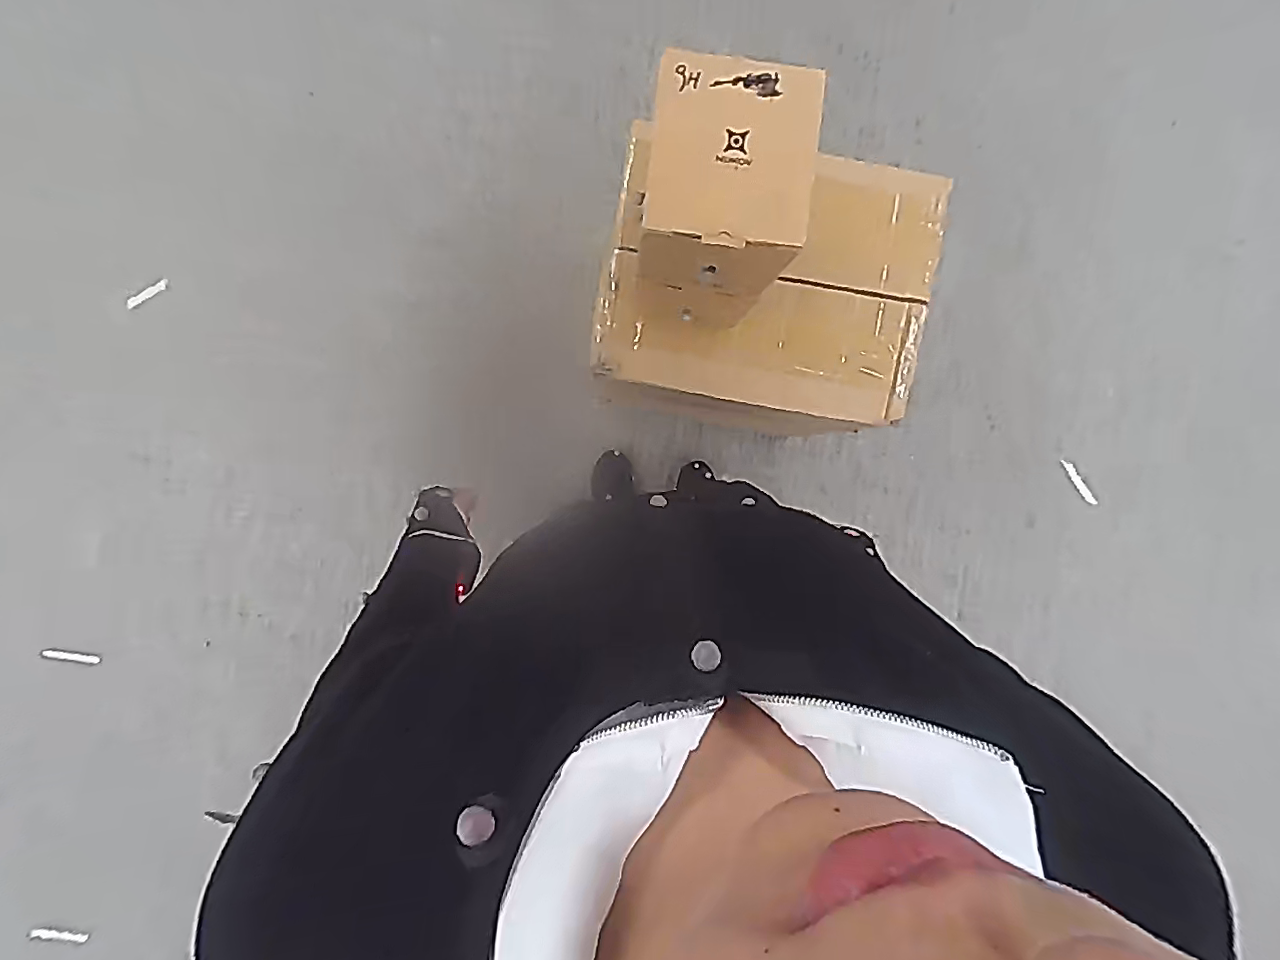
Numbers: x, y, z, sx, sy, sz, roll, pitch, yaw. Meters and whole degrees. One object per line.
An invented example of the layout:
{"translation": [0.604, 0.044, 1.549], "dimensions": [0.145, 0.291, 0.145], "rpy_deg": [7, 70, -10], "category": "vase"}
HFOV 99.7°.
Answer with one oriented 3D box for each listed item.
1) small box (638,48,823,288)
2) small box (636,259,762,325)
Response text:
{"translation": [0.088, -0.331, 0.613], "dimensions": [0.168, 0.176, 0.179], "rpy_deg": [6, 94, -2], "category": "small box"}
{"translation": [0.085, -0.339, 0.777], "dimensions": [0.168, 0.176, 0.179], "rpy_deg": [8, 93, -2], "category": "small box"}
